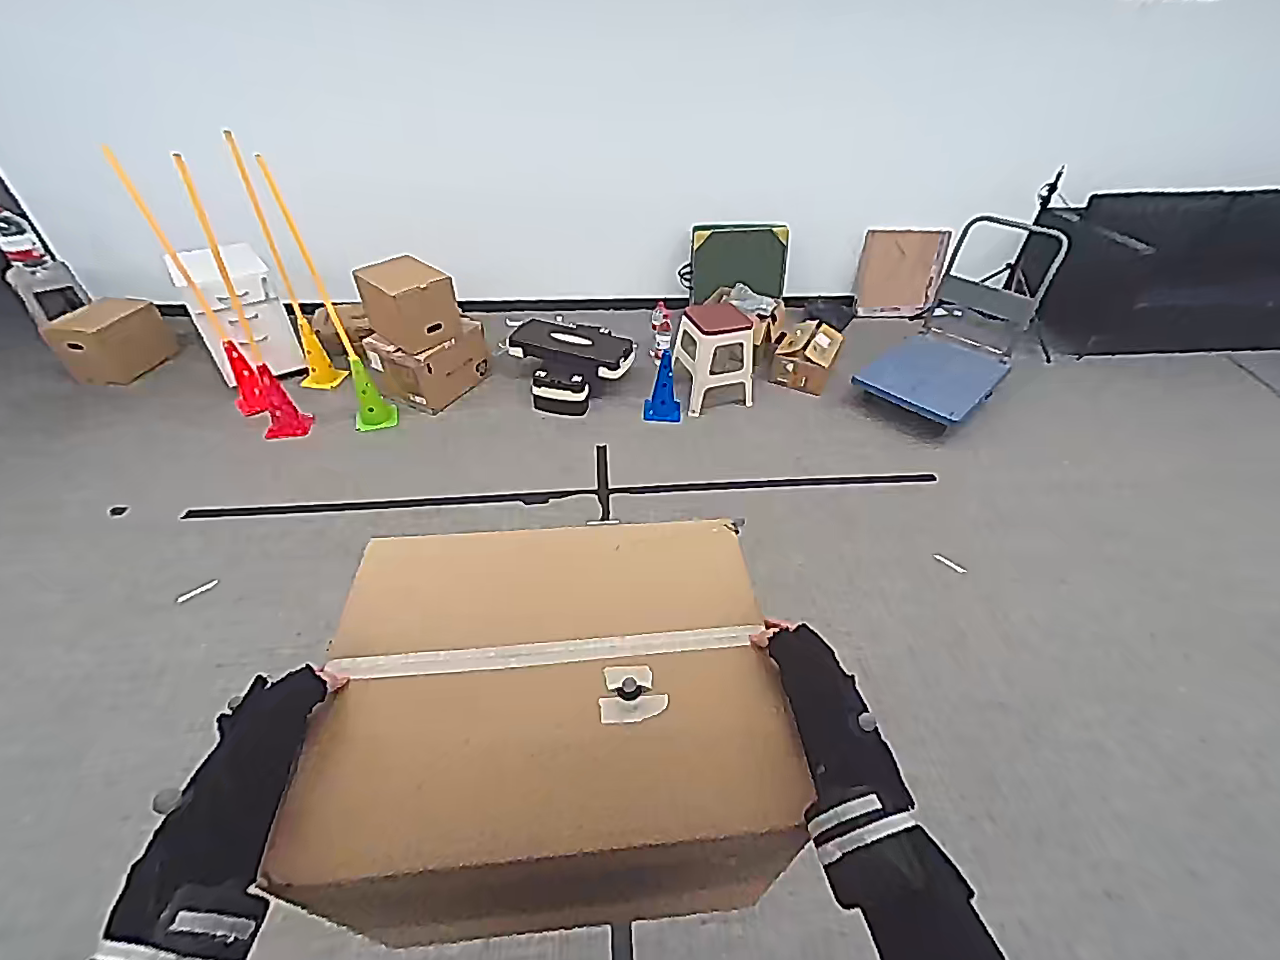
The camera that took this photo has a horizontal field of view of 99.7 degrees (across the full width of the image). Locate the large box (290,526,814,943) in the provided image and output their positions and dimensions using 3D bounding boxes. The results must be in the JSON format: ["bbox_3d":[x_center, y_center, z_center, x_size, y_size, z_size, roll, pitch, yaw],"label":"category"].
[{"bbox_3d":[-0.079,0.278,0.614,0.408,0.320,0.320,-3,43,-5],"label":"large box"}]
